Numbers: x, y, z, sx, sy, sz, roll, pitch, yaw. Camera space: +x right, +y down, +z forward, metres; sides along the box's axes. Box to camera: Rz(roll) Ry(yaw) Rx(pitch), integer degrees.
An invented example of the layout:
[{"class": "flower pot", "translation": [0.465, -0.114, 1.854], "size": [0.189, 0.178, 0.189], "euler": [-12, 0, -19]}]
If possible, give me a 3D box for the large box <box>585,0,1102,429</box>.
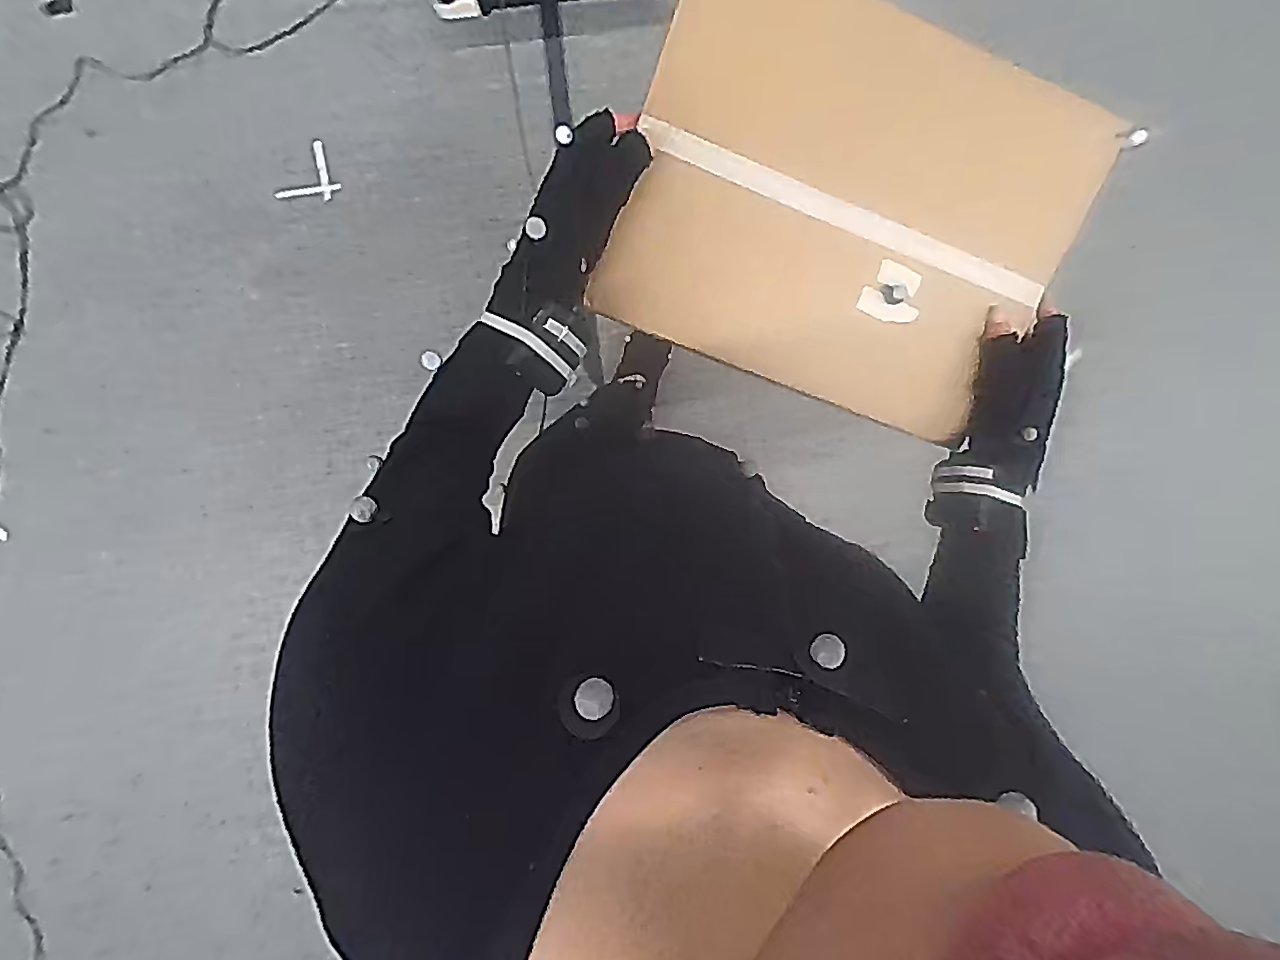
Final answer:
[{"class": "large box", "translation": [0.172, -0.285, 0.637], "size": [0.408, 0.320, 0.320], "euler": [18, 105, -7]}]
